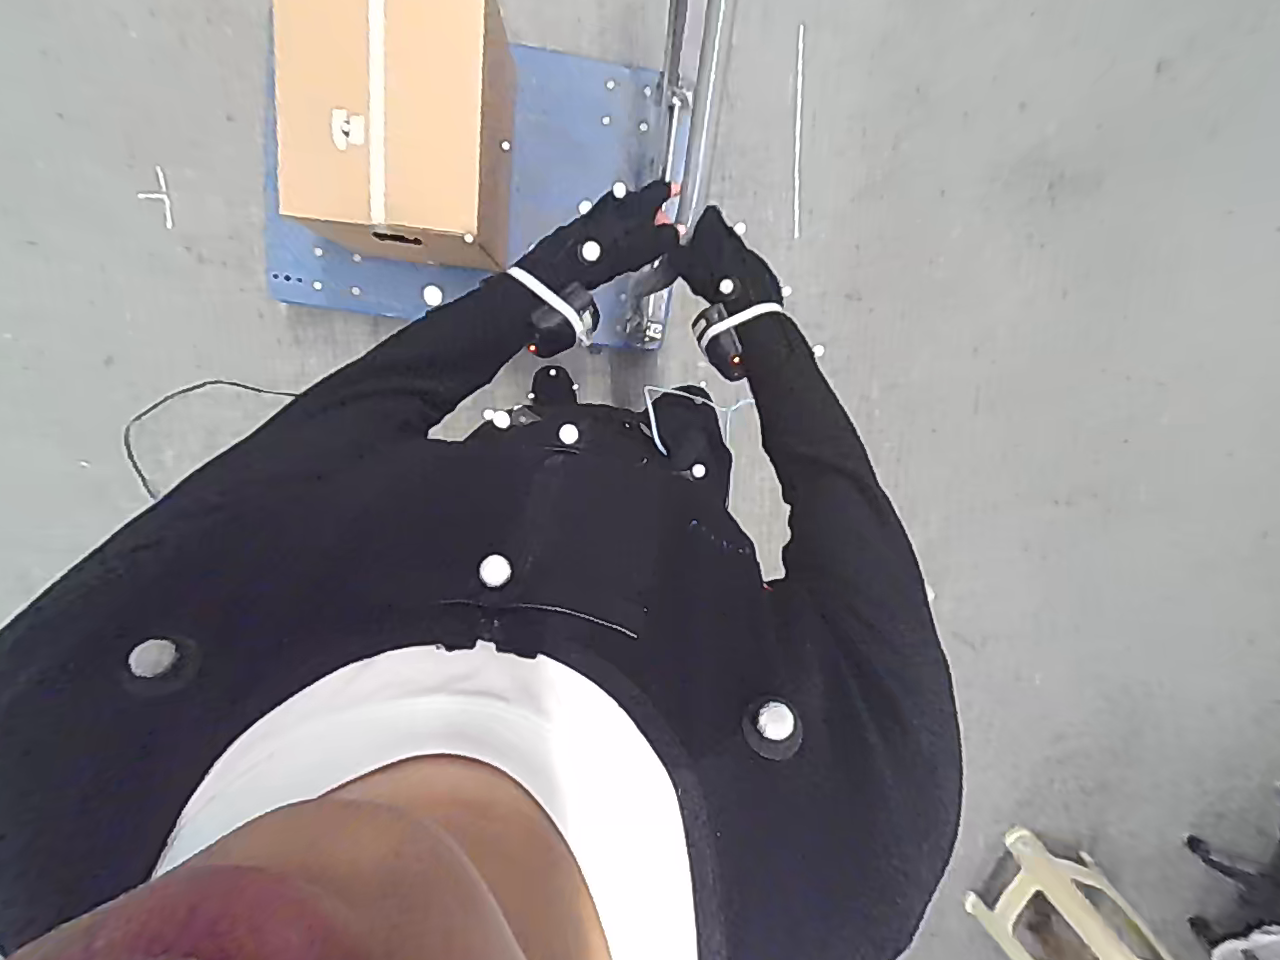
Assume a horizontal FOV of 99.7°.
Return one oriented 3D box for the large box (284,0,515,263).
[{"bbox_3d":[-0.406,-0.650,0.990,0.320,0.320,0.408,5,101,-6],"label":"large box"}]
